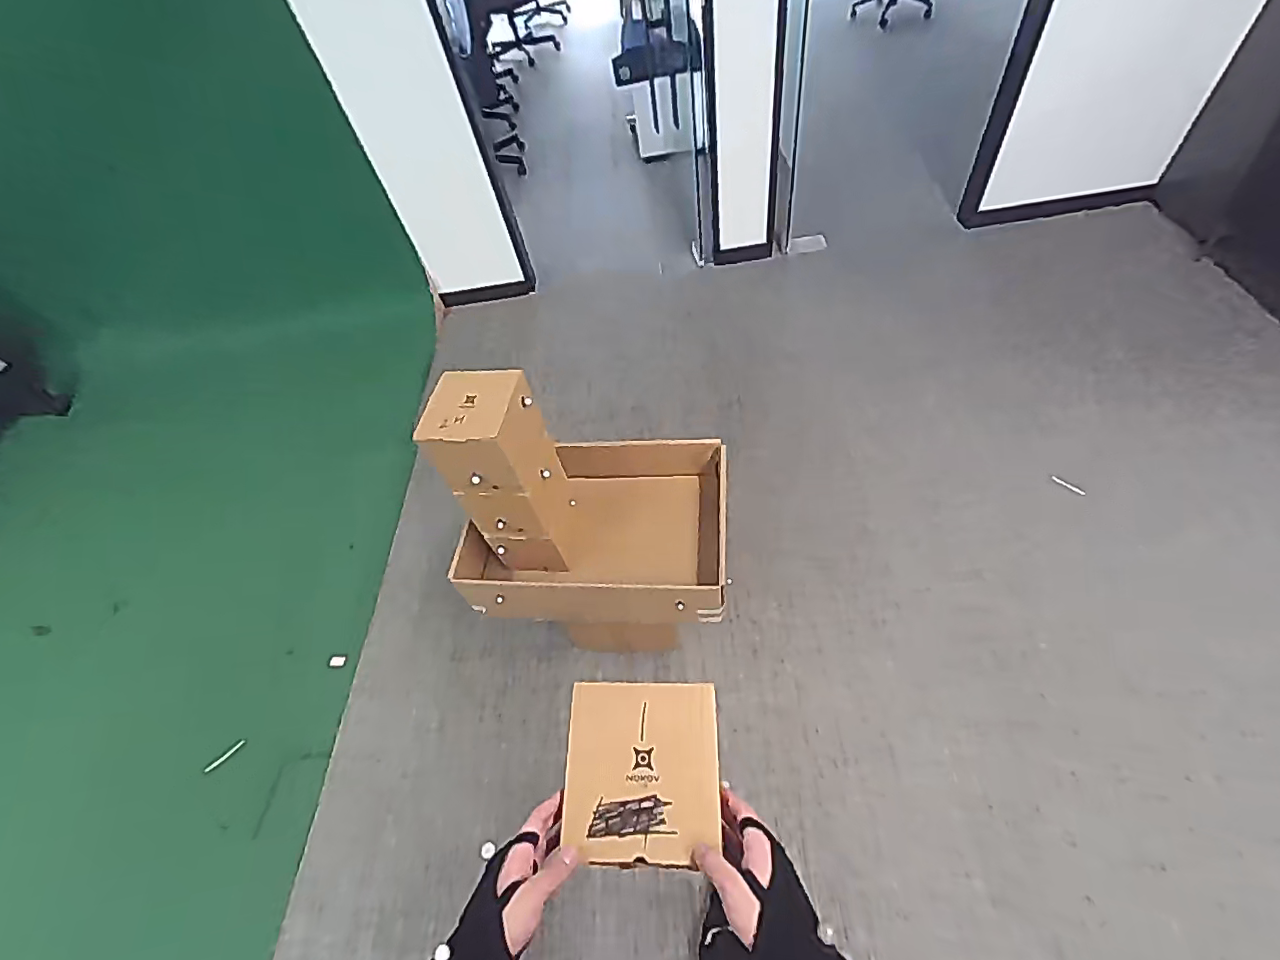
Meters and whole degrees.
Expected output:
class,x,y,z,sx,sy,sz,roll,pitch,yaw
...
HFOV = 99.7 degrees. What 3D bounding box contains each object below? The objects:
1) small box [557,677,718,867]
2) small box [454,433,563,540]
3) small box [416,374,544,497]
class,x,y,z,sx,sy,sz,roll,pitch,yaw
small box,0.006,0.347,0.647,0.168,0.176,0.179,0,57,4
small box,-0.278,0.013,1.193,0.168,0.176,0.179,1,54,10
small box,-0.301,-0.088,1.064,0.168,0.176,0.179,2,54,12
